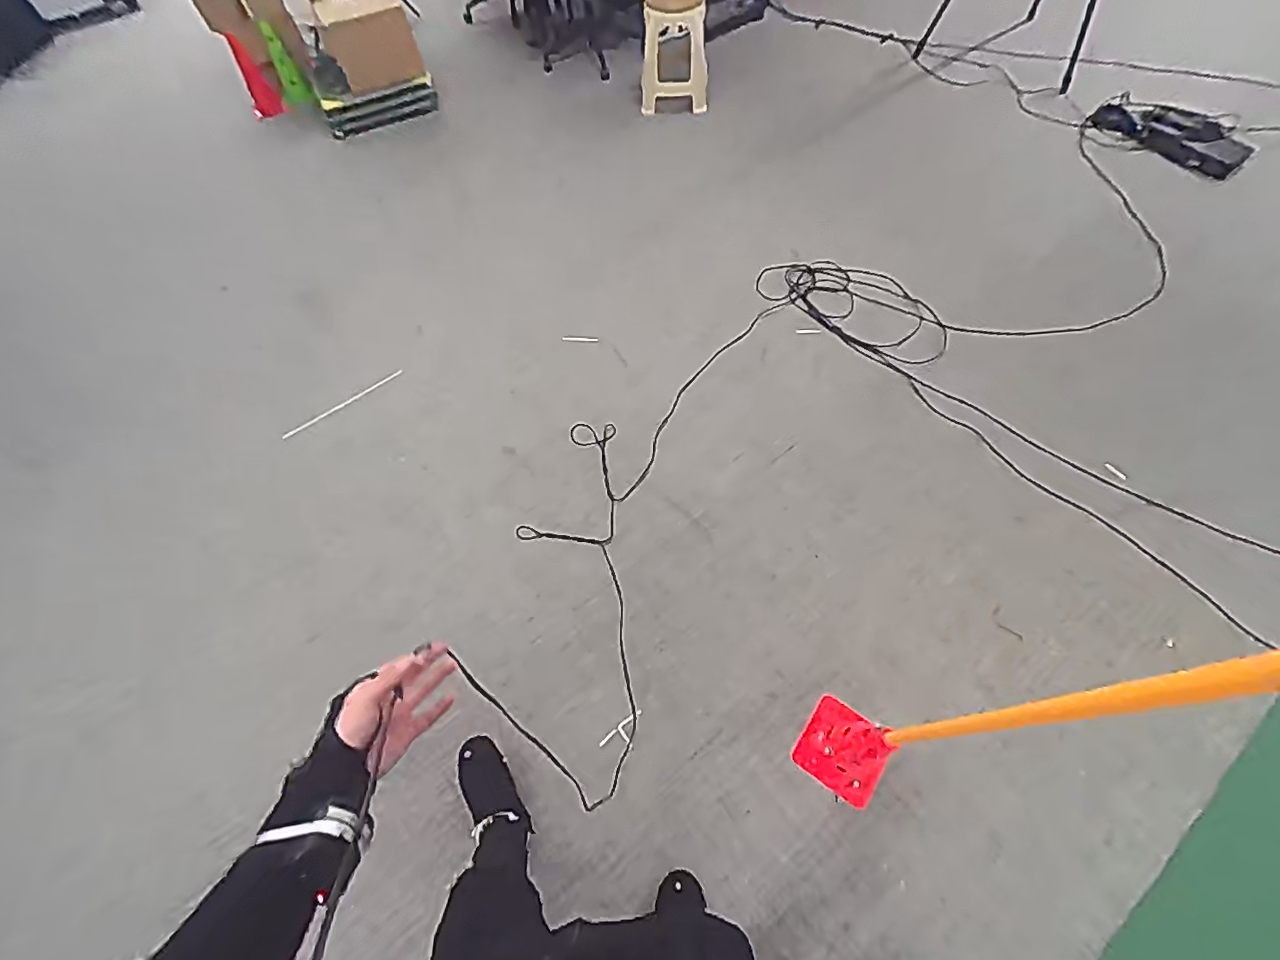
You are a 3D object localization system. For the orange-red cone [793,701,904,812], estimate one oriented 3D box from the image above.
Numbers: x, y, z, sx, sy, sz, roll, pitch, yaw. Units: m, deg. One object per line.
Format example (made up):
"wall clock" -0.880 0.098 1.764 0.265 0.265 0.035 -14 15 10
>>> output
"orange-red cone" 0.504 0.603 1.212 0.198 0.360 0.199 33 66 19
